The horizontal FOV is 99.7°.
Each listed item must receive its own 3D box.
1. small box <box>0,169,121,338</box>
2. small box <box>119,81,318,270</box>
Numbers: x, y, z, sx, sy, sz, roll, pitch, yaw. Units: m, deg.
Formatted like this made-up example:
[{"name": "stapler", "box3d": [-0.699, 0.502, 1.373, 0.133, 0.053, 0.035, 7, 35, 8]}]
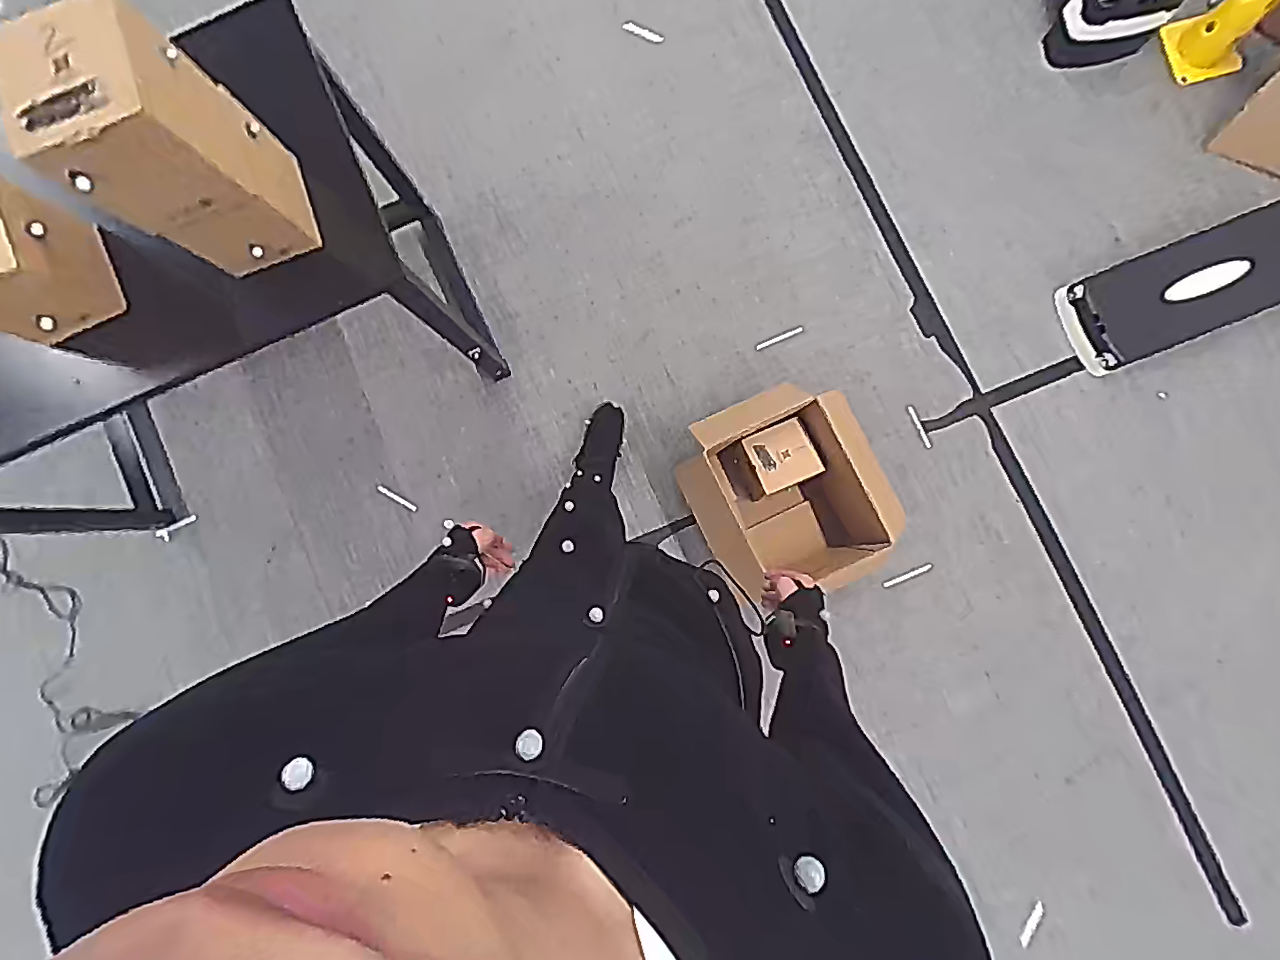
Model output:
[{"name": "small box", "box3d": [-1.015, -0.360, 0.875, 0.168, 0.176, 0.179, -24, 86, 0]}, {"name": "small box", "box3d": [-0.661, -0.474, 0.867, 0.168, 0.176, 0.179, -19, 86, 2]}]
